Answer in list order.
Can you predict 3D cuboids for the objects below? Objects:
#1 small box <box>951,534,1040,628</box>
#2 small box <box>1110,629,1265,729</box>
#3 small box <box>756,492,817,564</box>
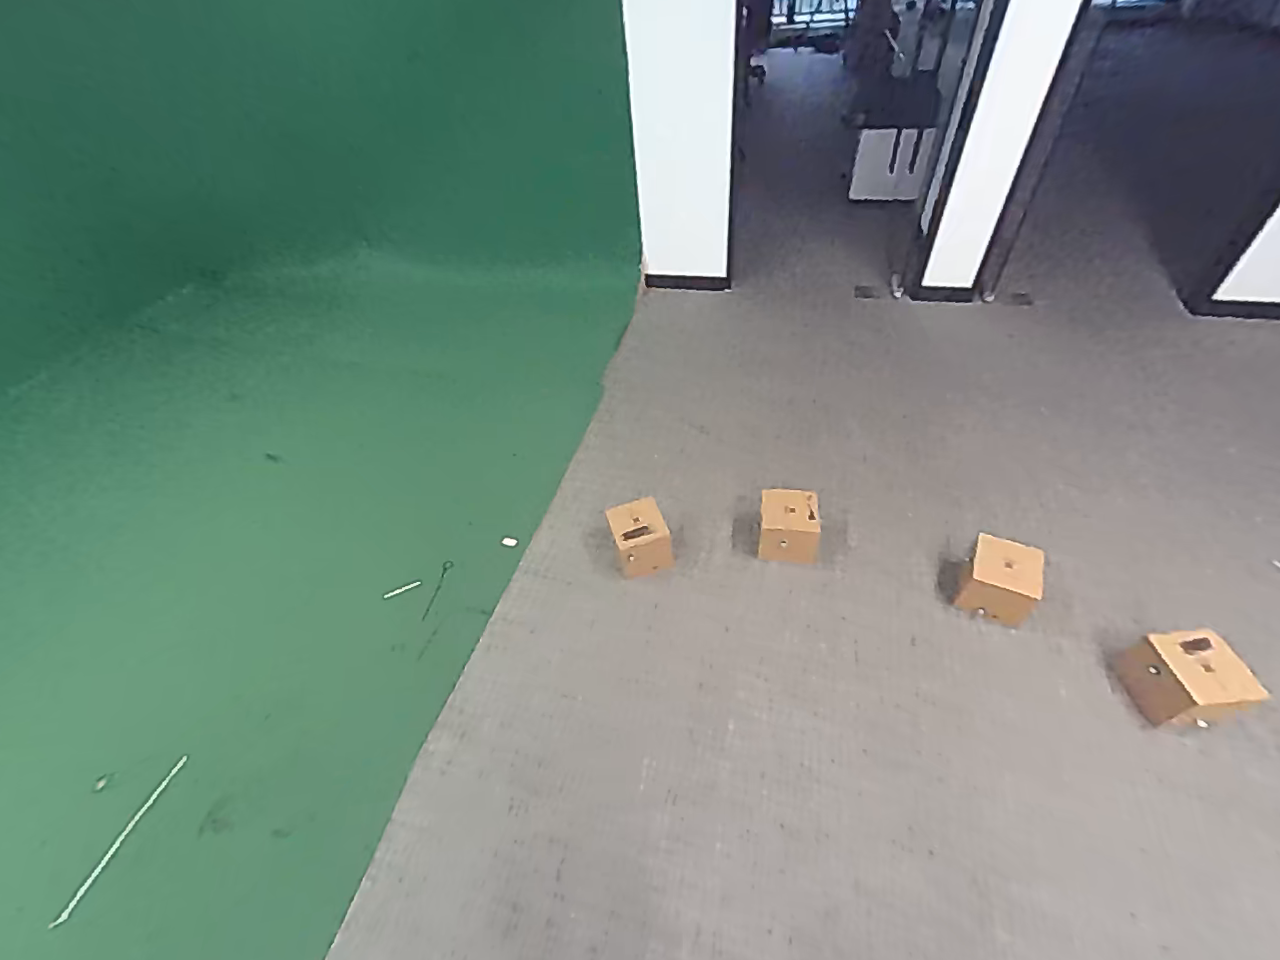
[{"bbox_3d":[1.021,0.292,1.561,0.168,0.176,0.179,18,51,23],"label":"small box"},{"bbox_3d":[1.332,0.493,1.336,0.168,0.176,0.179,-6,47,1],"label":"small box"},{"bbox_3d":[0.469,0.156,1.750,0.179,0.176,0.168,2,47,10],"label":"small box"}]
